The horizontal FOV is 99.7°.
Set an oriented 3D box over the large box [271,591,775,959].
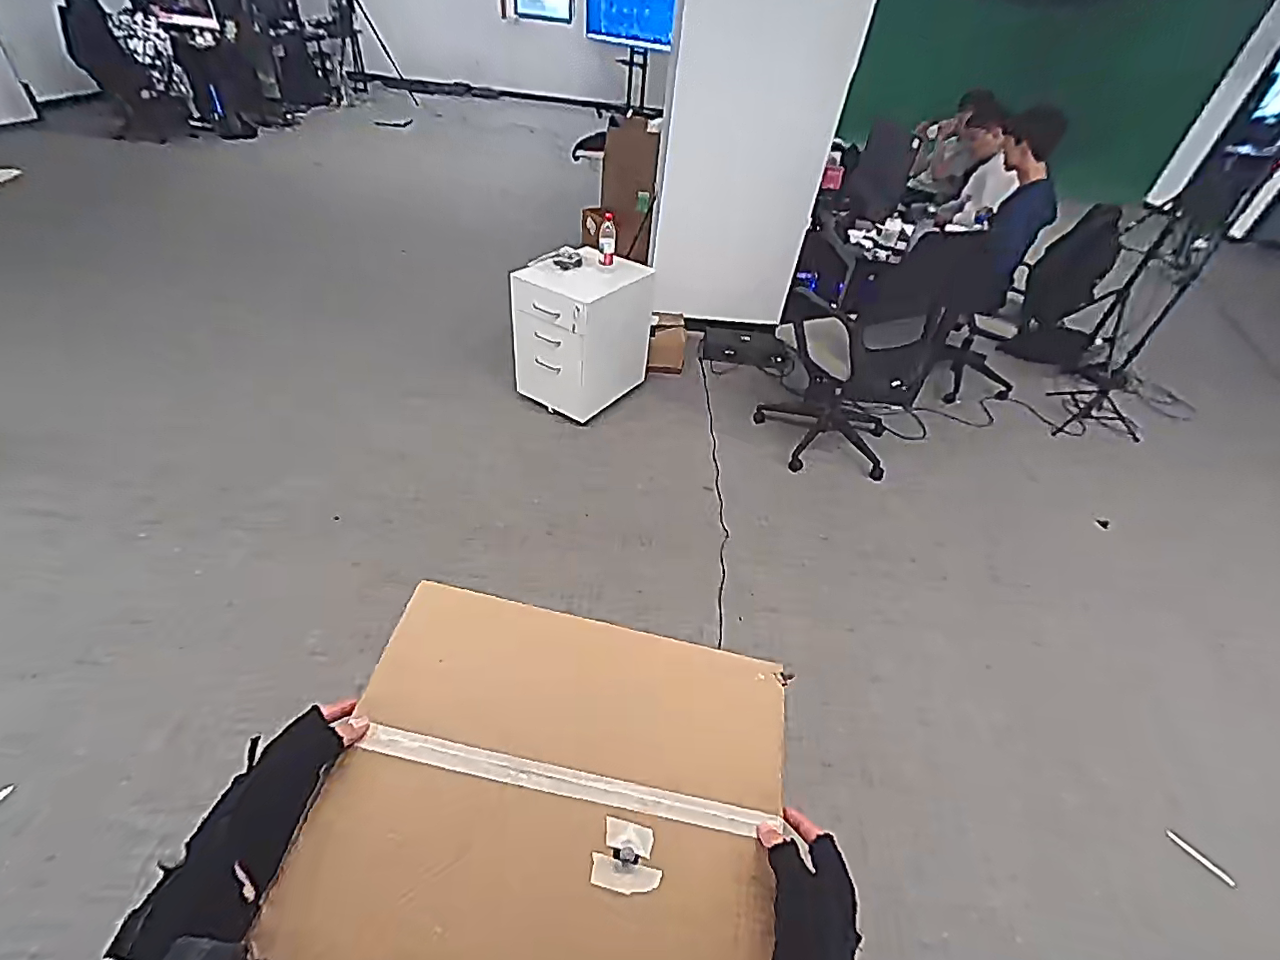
[{"bbox_3d":[-0.091,0.372,0.623,0.408,0.320,0.320,14,51,0],"label":"large box"}]
